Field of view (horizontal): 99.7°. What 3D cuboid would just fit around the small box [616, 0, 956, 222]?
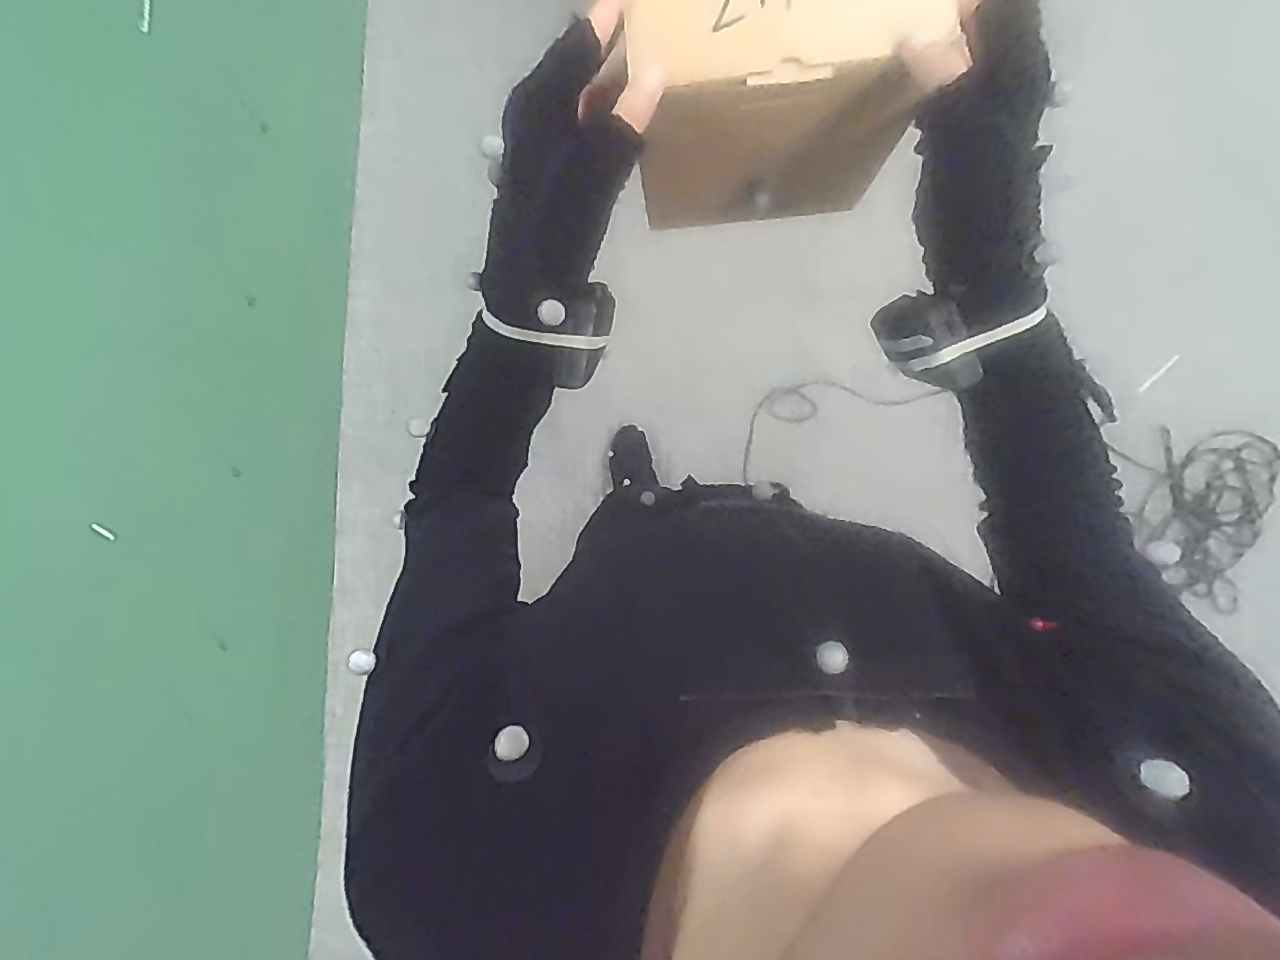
[{"bbox_3d":[0.073,-0.296,0.346,0.168,0.176,0.179,-3,90,6],"label":"small box"}]
